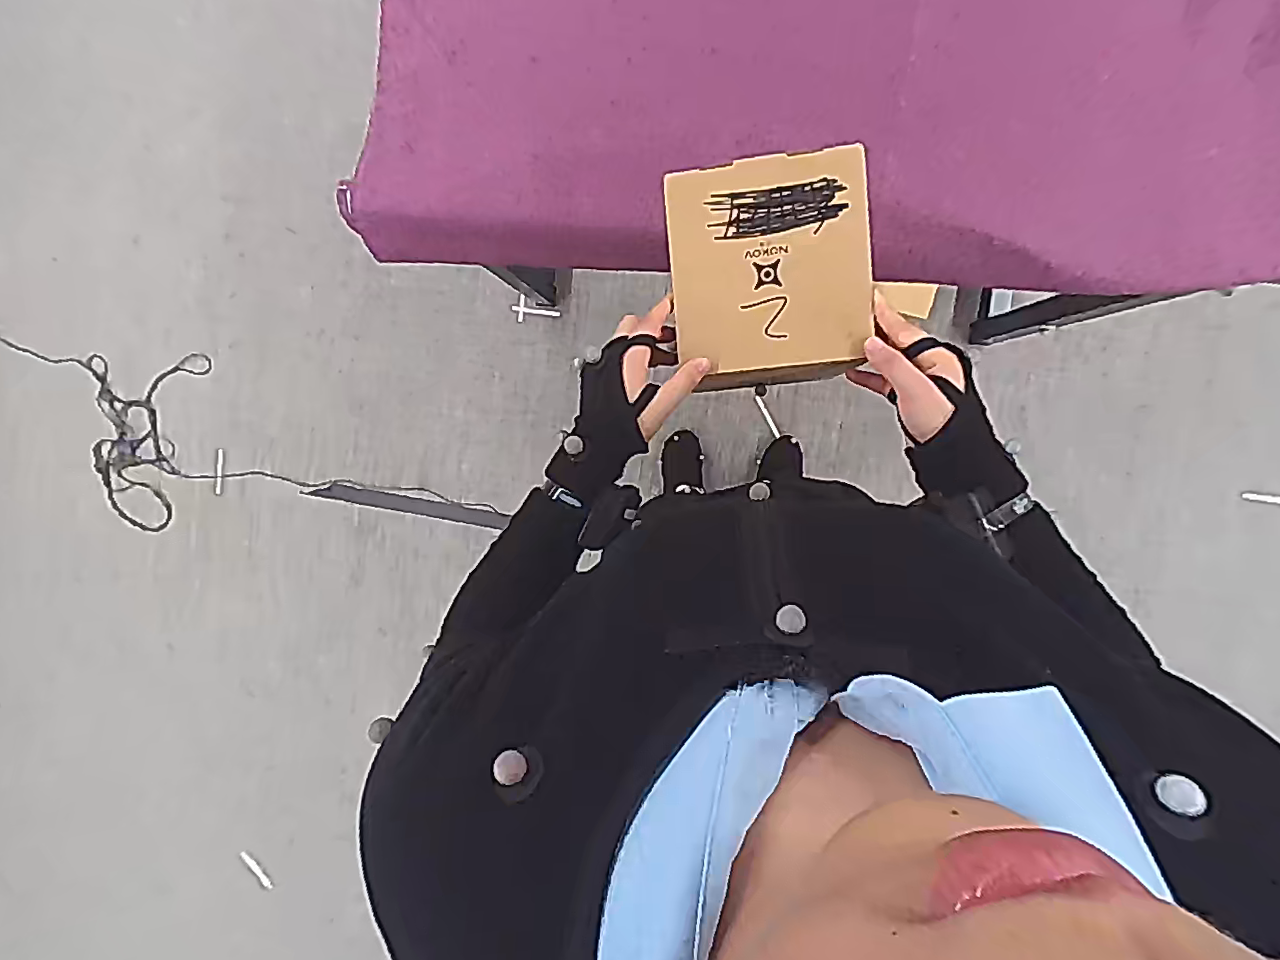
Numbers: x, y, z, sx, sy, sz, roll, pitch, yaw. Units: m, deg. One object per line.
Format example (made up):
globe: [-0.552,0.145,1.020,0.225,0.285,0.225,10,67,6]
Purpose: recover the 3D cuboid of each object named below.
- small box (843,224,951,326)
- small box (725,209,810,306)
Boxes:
small box: [0.611,-0.488,1.314,0.168,0.176,0.179,16,97,4]
small box: [0.307,-0.540,1.336,0.168,0.176,0.179,9,97,4]
